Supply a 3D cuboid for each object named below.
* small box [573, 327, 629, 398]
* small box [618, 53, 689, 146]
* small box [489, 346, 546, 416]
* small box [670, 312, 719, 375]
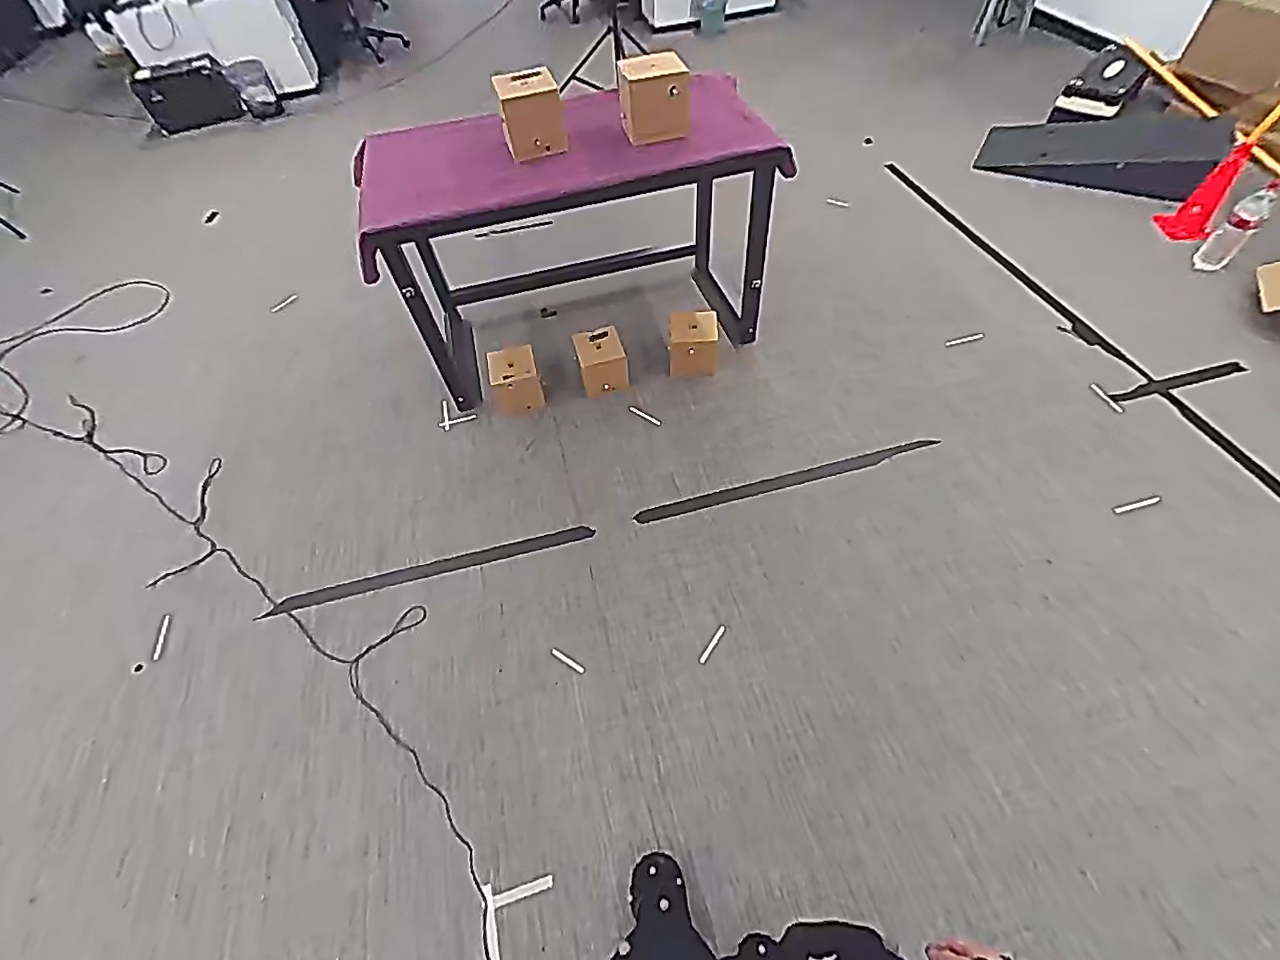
[{"bbox_3d":[-0.144,-0.437,2.023,0.168,0.176,0.179,-15,56,-5],"label":"small box"},{"bbox_3d":[0.040,-1.119,1.594,0.179,0.176,0.168,-13,54,-4],"label":"small box"},{"bbox_3d":[-0.452,-0.364,2.000,0.168,0.176,0.179,-14,54,-5],"label":"small box"},{"bbox_3d":[0.204,-0.513,2.048,0.179,0.176,0.168,-1,55,6],"label":"small box"}]
